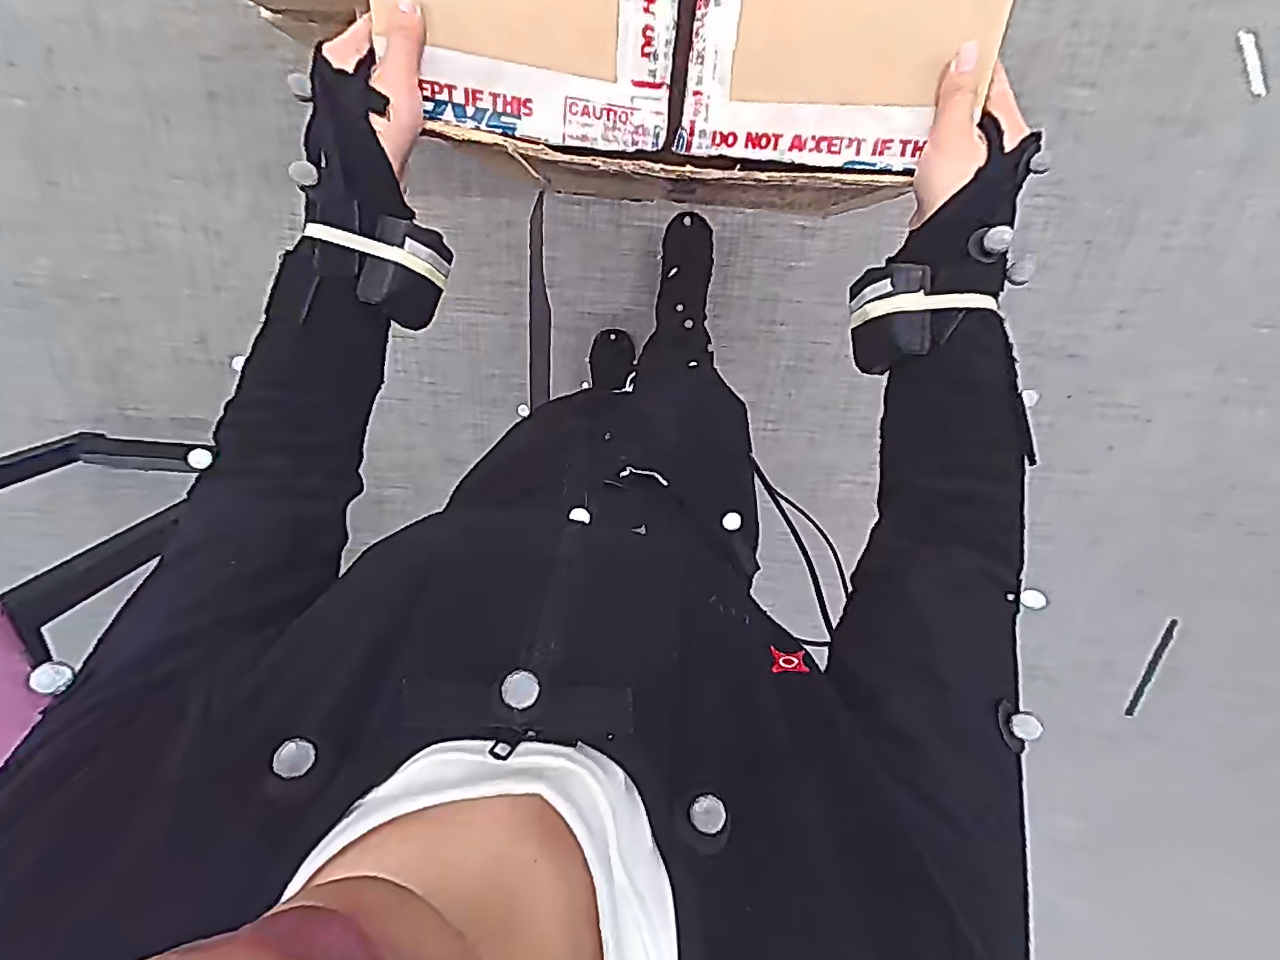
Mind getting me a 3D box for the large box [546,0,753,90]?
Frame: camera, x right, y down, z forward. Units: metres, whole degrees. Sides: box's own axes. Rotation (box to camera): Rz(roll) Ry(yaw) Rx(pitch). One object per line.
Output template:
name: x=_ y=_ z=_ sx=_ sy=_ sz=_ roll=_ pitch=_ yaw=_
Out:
large box: x=0.018 y=-0.919 z=0.877 sx=0.320 sy=0.320 sz=0.408 roll=3 pitch=113 yaw=0
